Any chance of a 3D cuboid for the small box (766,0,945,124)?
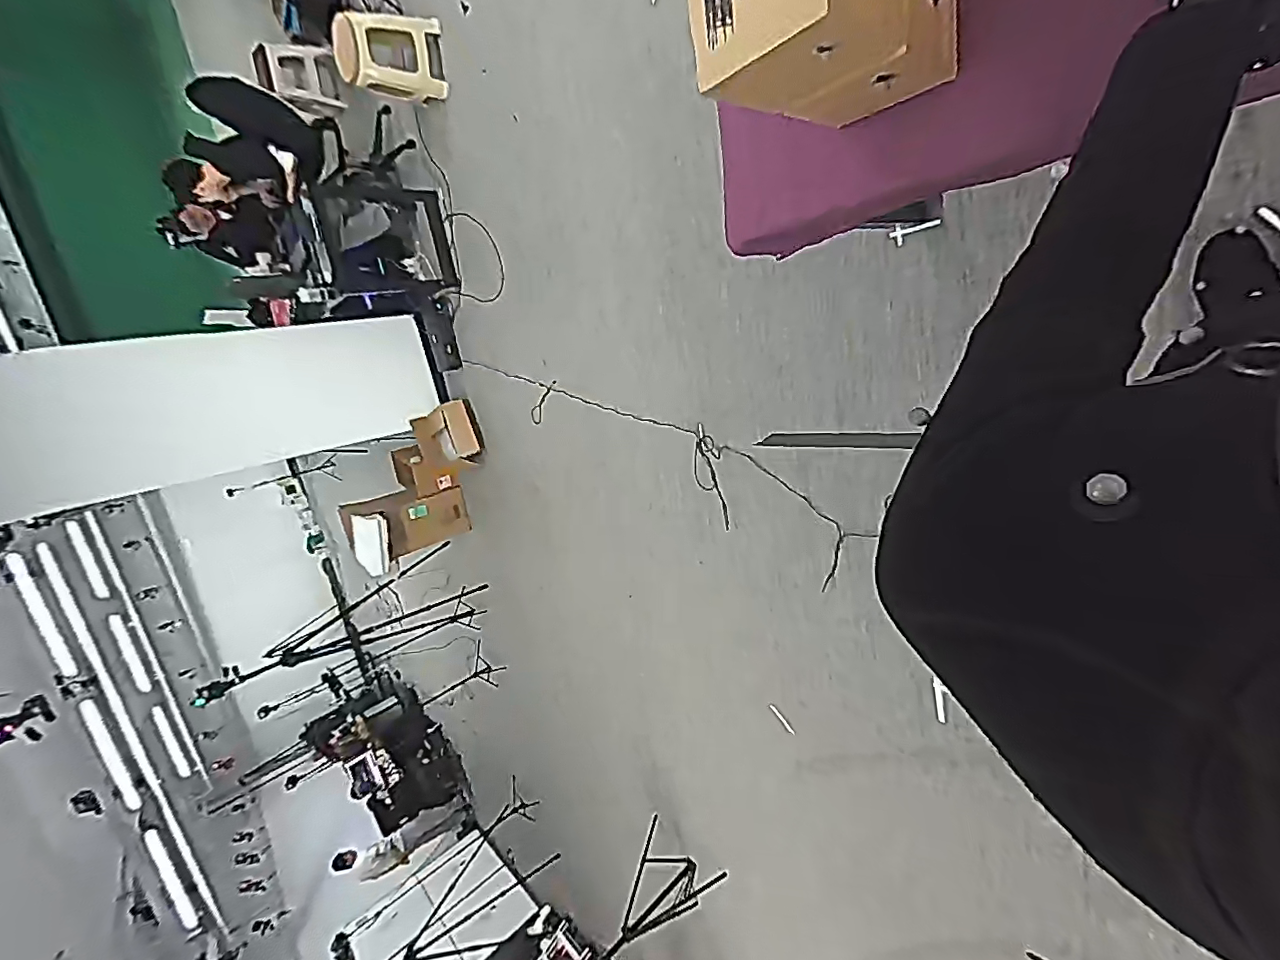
[{"bbox_3d":[0.295,-0.609,0.728,0.179,0.176,0.168,8,113,48],"label":"small box"}]
